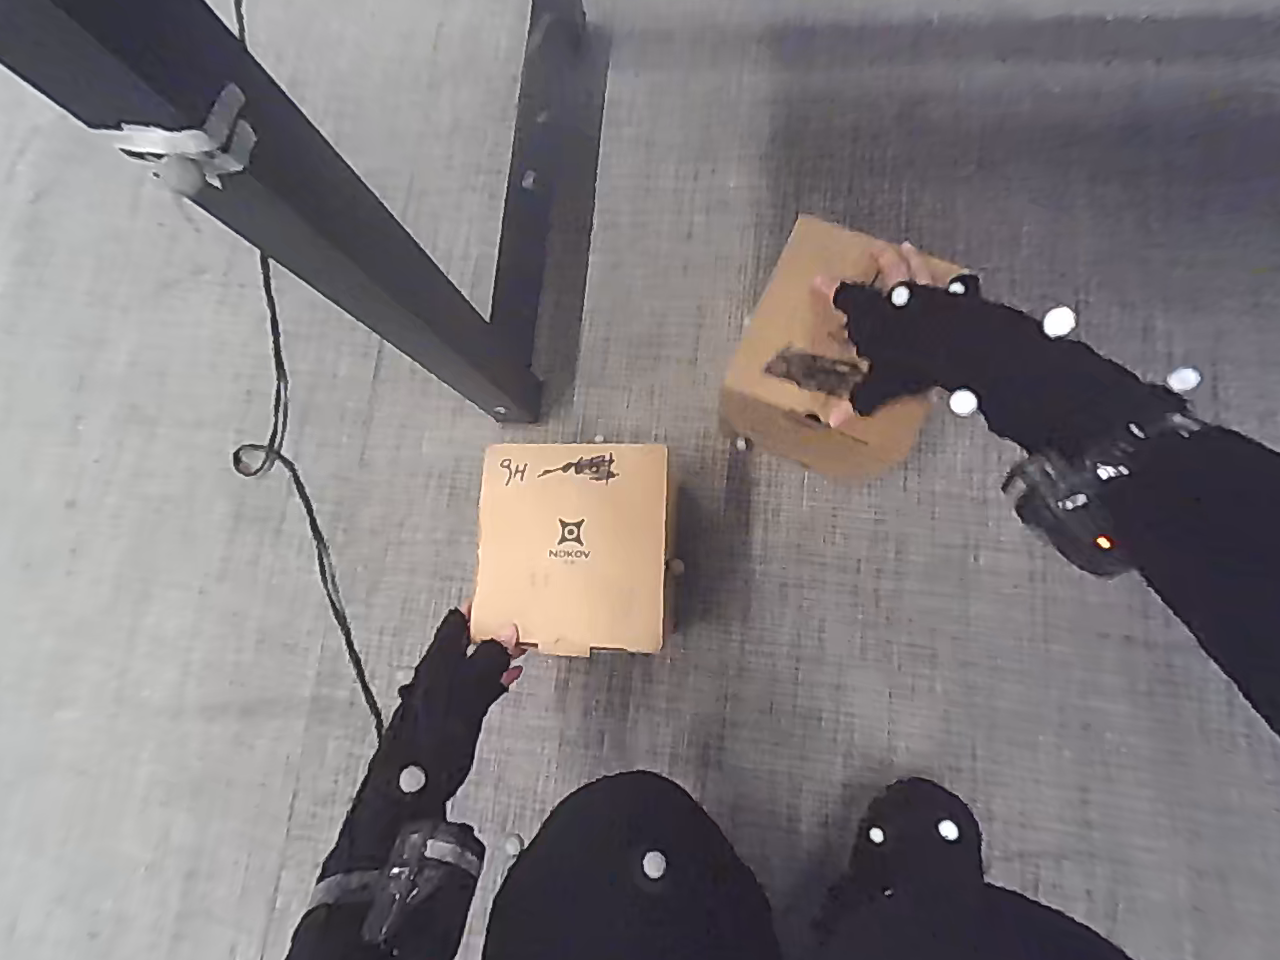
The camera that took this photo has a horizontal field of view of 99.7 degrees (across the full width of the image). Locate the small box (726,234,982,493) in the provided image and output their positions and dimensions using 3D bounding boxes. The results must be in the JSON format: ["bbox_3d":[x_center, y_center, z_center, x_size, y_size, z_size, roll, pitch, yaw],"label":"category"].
[{"bbox_3d":[0.194,-0.100,0.543,0.168,0.176,0.179,23,83,9],"label":"small box"}]
